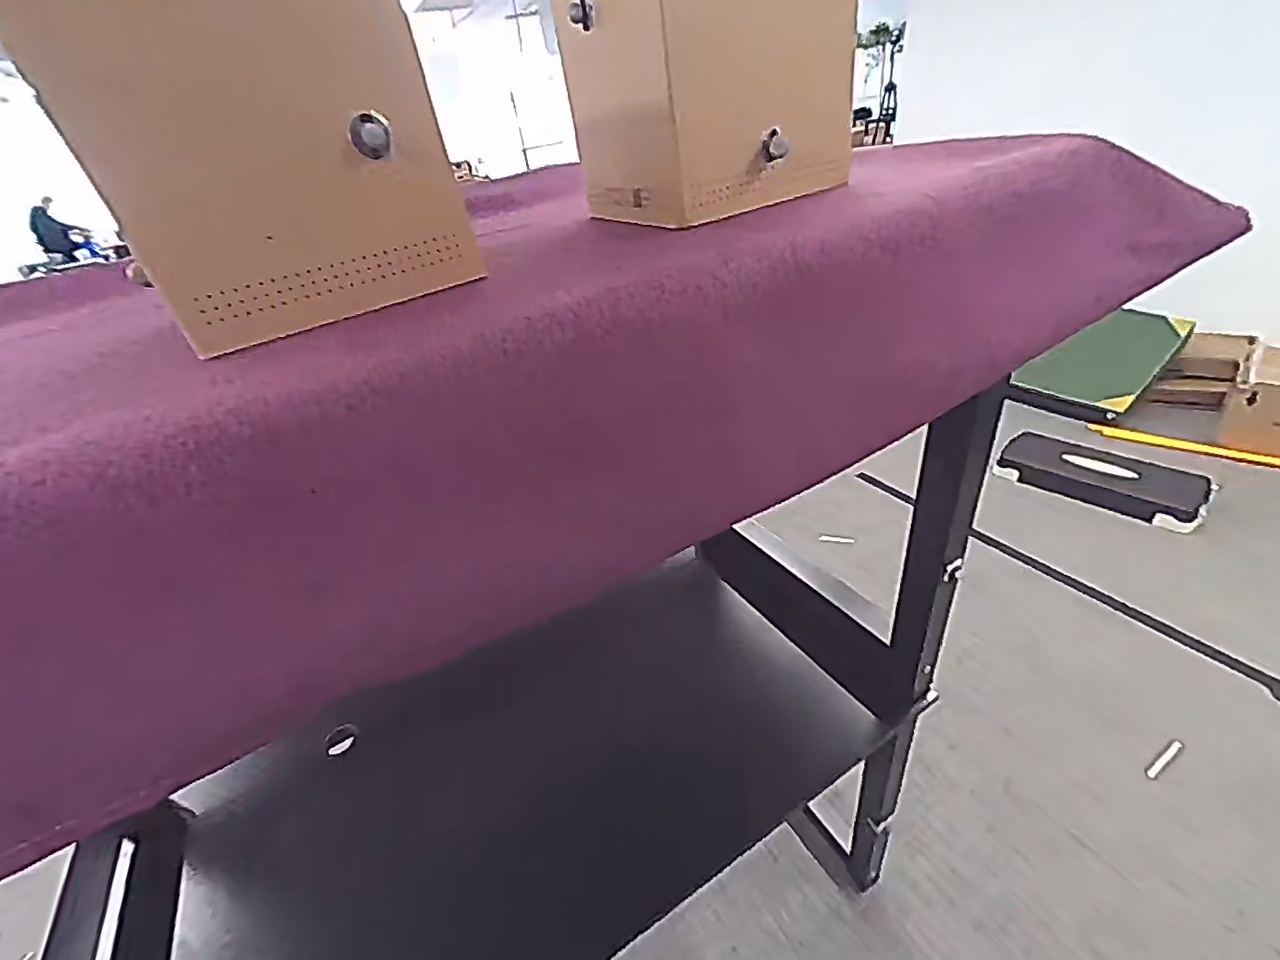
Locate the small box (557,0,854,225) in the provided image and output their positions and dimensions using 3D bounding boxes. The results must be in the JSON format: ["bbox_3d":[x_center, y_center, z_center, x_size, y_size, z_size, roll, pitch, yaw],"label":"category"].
[{"bbox_3d":[0.052,-0.323,0.445,0.179,0.176,0.168,-24,36,-20],"label":"small box"}]

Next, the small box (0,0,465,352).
[{"bbox_3d":[-0.232,-0.201,0.347,0.179,0.176,0.168,-29,38,-25],"label":"small box"}]
